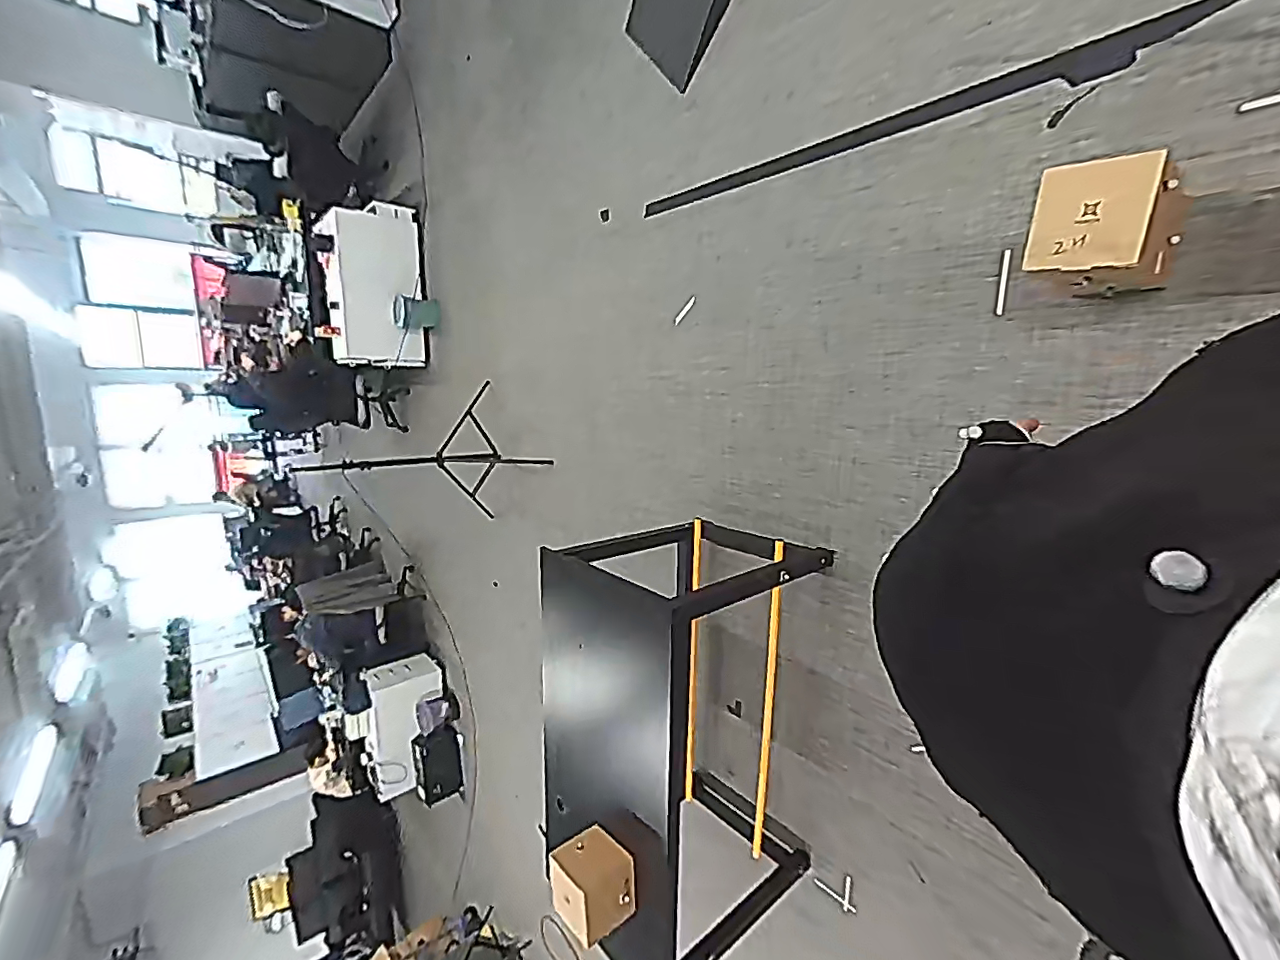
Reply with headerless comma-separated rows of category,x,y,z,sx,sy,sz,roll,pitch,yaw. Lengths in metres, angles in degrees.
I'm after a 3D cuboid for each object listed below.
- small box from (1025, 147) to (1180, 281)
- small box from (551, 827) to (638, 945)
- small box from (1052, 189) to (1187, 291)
small box,0.828,-0.461,0.968,0.168,0.176,0.179,20,112,47
small box,-0.125,1.106,1.495,0.179,0.176,0.168,4,100,49
small box,0.954,-0.476,1.075,0.168,0.176,0.179,12,106,49
